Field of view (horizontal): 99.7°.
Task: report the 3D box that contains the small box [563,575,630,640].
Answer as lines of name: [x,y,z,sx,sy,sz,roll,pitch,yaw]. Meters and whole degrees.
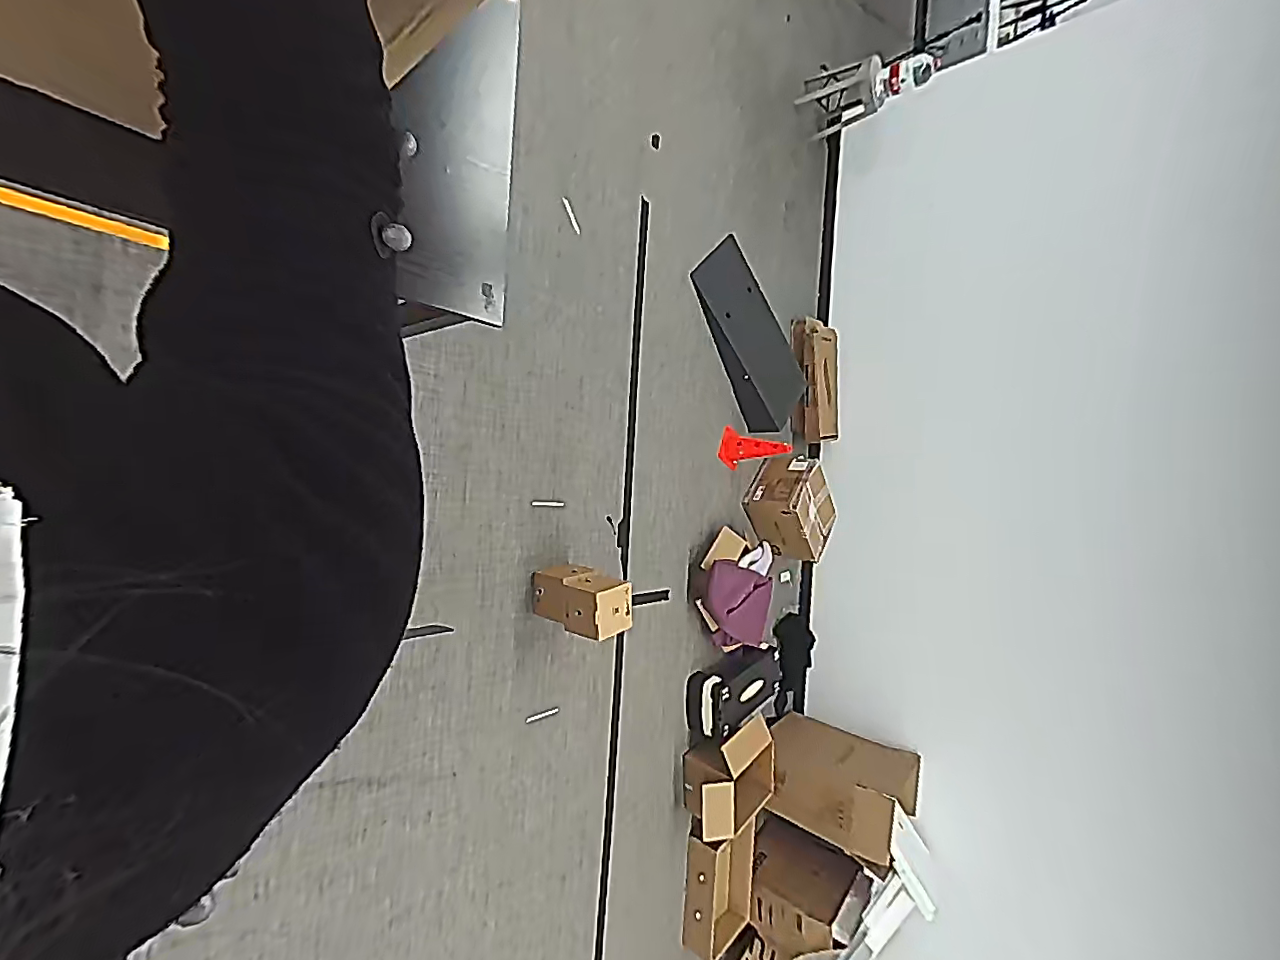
small box: [-0.155,0.436,1.877,0.179,0.176,0.168,-7,97,-49]

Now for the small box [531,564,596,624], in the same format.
small box: [-0.279,0.411,1.983,0.179,0.176,0.168,-5,96,-49]
